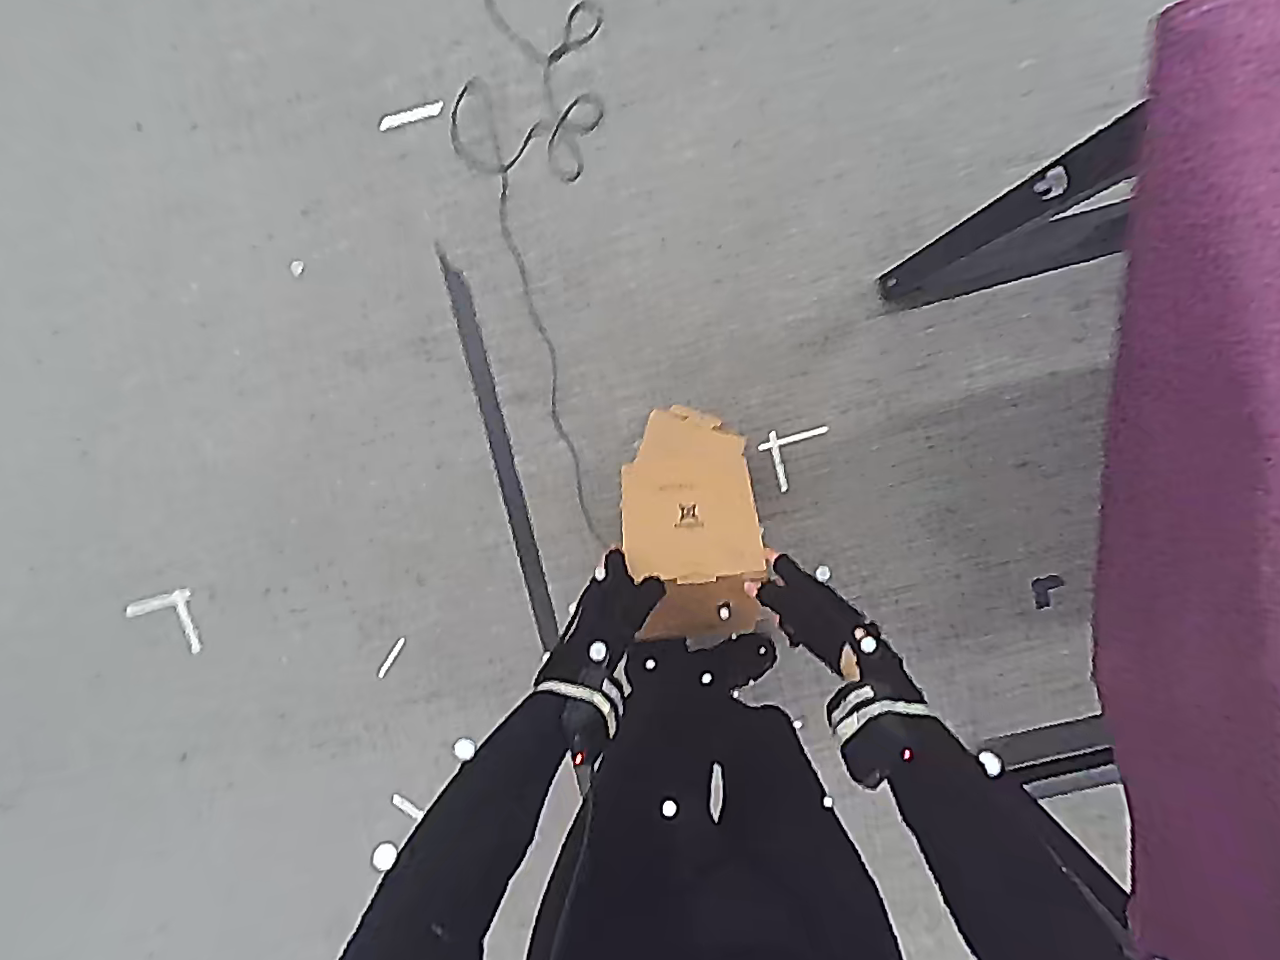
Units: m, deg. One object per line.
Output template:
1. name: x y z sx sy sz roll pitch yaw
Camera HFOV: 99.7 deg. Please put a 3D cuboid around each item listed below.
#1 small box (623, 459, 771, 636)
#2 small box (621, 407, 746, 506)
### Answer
1. small box: 0.066 0.095 0.714 0.168 0.179 0.176 -4 140 -1
2. small box: 0.072 -0.020 0.967 0.168 0.176 0.179 19 96 1
